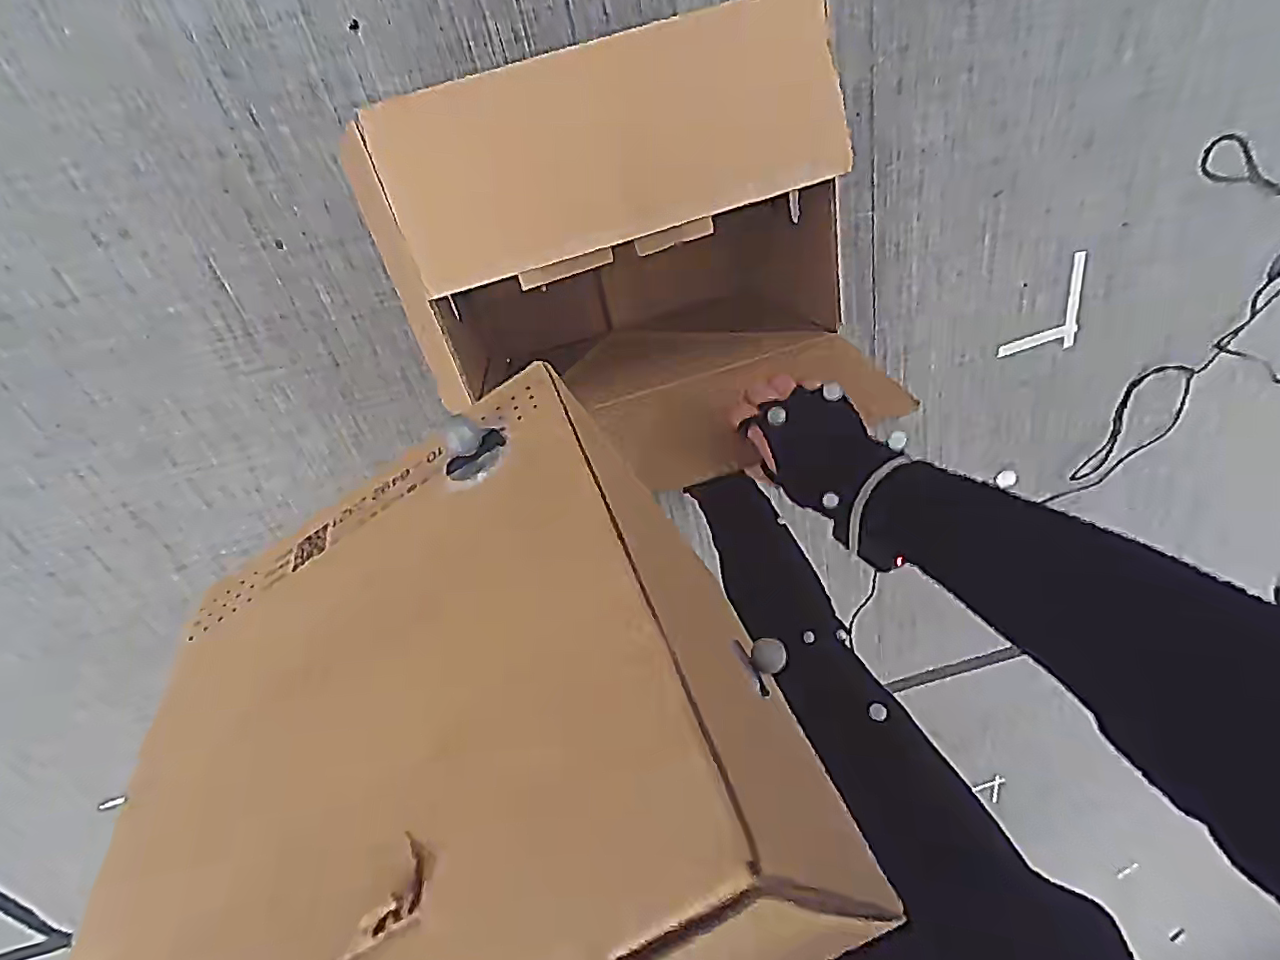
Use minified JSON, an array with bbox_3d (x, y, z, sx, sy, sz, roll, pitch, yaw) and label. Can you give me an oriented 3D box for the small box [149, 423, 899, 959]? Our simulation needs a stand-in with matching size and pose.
[{"bbox_3d":[-0.036,0.101,0.208,0.168,0.176,0.179,-33,133,6],"label":"small box"}]
